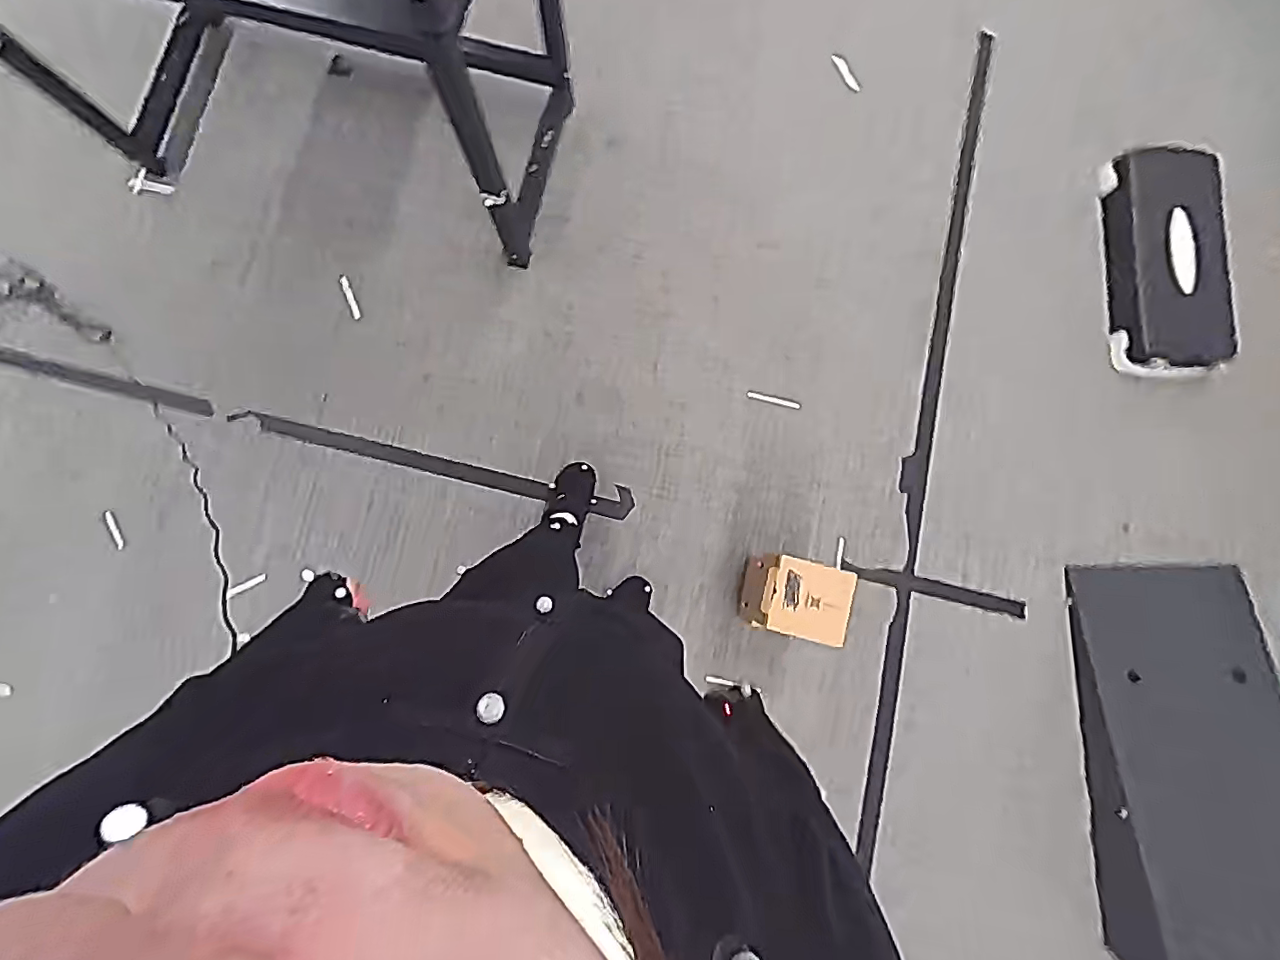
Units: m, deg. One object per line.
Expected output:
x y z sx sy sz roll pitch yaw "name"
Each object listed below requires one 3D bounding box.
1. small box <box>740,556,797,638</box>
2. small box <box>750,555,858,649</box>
0.365 0.301 1.405 0.168 0.176 0.179 12 83 0 "small box"
0.367 0.272 1.244 0.179 0.176 0.168 15 84 -1 "small box"
